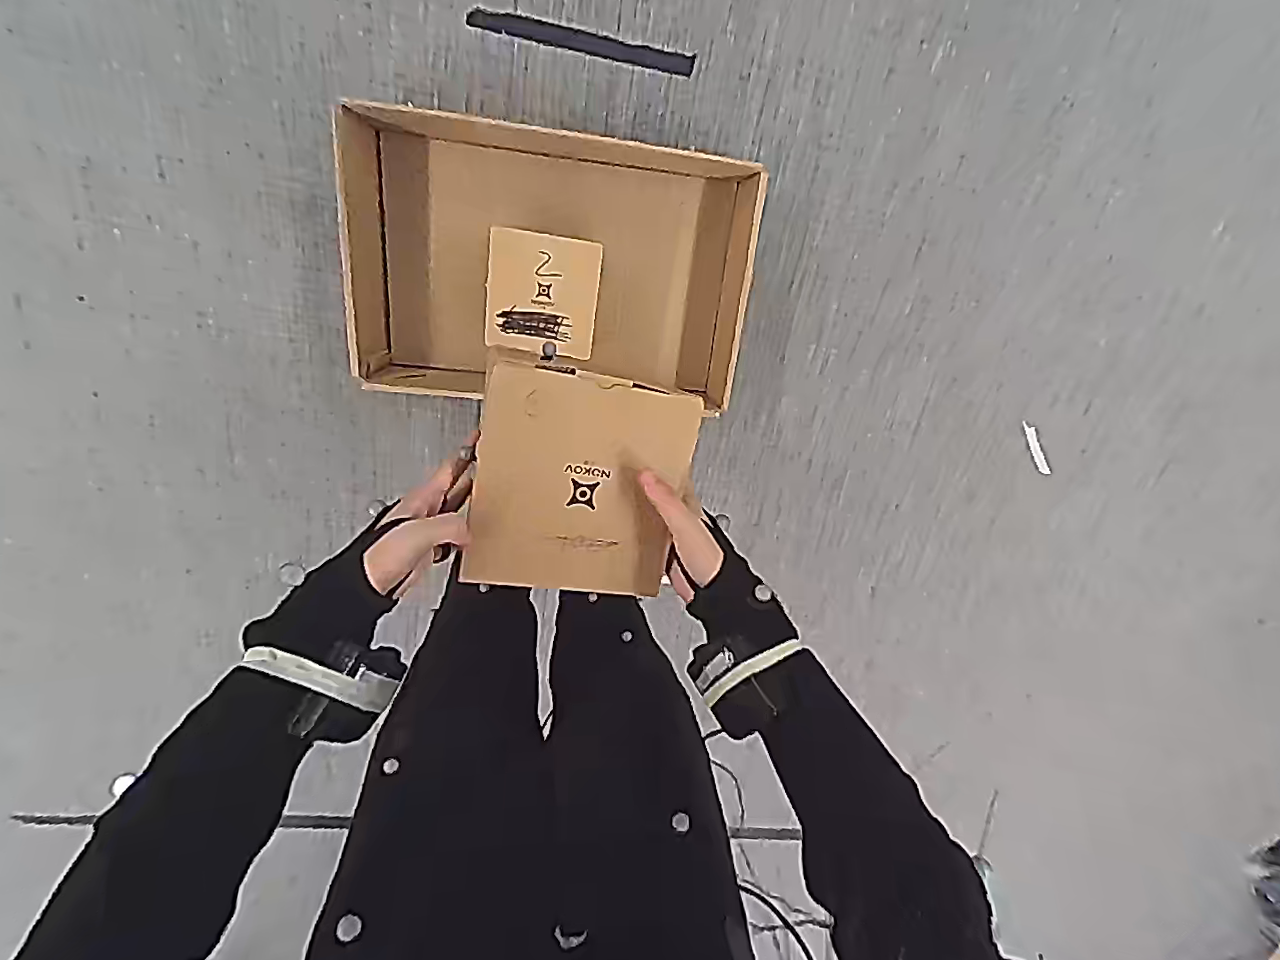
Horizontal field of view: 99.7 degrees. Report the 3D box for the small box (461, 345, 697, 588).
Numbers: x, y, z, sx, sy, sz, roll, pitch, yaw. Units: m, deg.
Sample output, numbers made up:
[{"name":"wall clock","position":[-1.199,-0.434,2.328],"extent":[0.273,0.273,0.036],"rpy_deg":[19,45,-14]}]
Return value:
[{"name":"small box","position":[-0.069,-0.021,0.505],"extent":[0.168,0.176,0.179],"rpy_deg":[8,107,-18]}]
